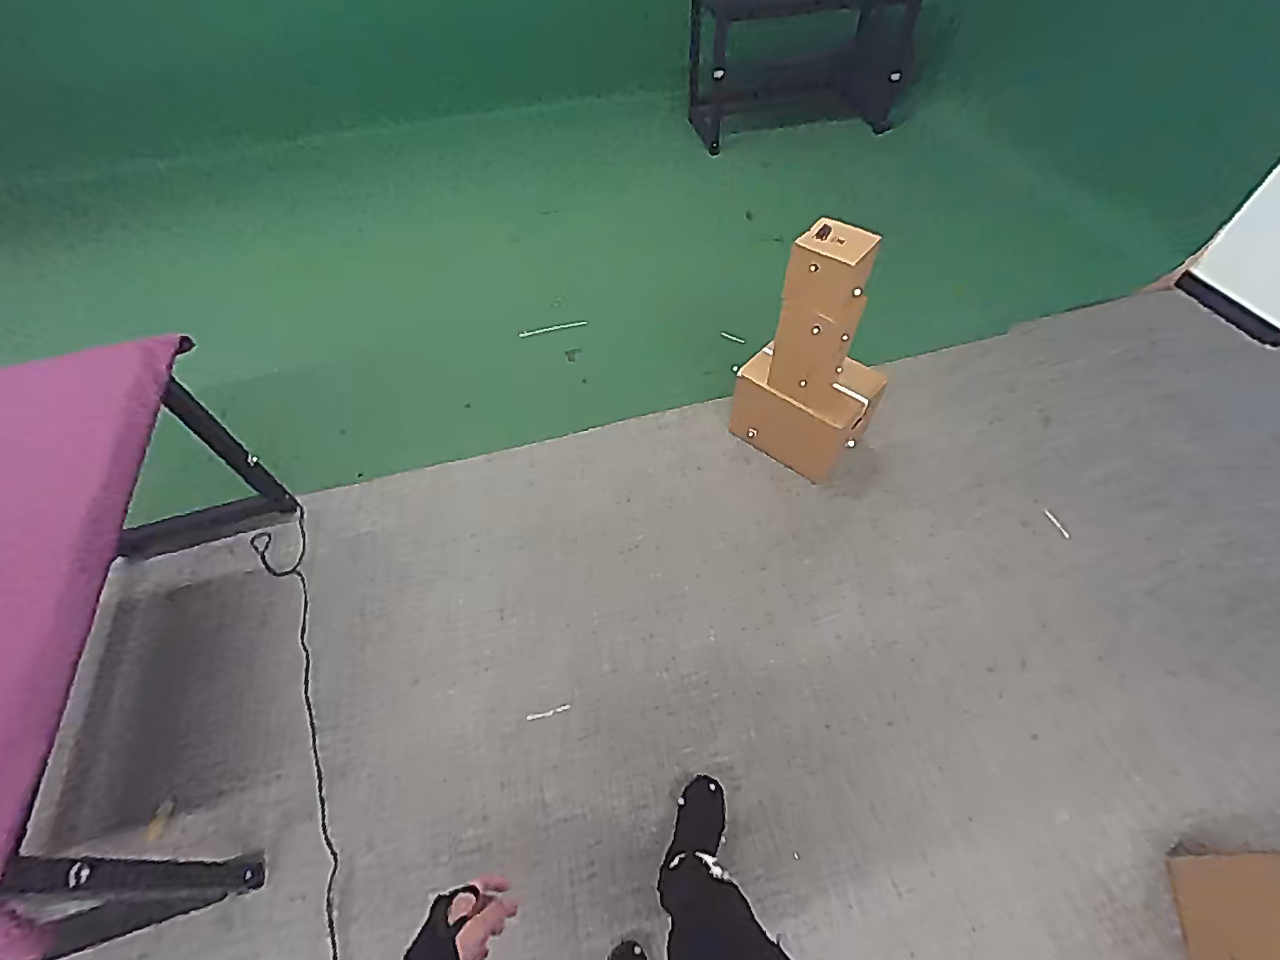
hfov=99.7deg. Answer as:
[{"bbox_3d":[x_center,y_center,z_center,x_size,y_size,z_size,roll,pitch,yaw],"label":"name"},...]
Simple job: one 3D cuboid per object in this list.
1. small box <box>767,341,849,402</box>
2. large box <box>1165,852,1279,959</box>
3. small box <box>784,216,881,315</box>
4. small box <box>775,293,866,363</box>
[{"bbox_3d":[0.532,-0.375,1.730,0.179,0.176,0.168,36,63,25],"label":"small box"},{"bbox_3d":[1.325,0.989,1.020,0.320,0.320,0.408,13,55,10],"label":"large box"},{"bbox_3d":[0.515,-0.581,1.474,0.179,0.176,0.168,33,62,22],"label":"small box"},{"bbox_3d":[0.526,-0.471,1.596,0.179,0.176,0.168,38,63,26],"label":"small box"}]
